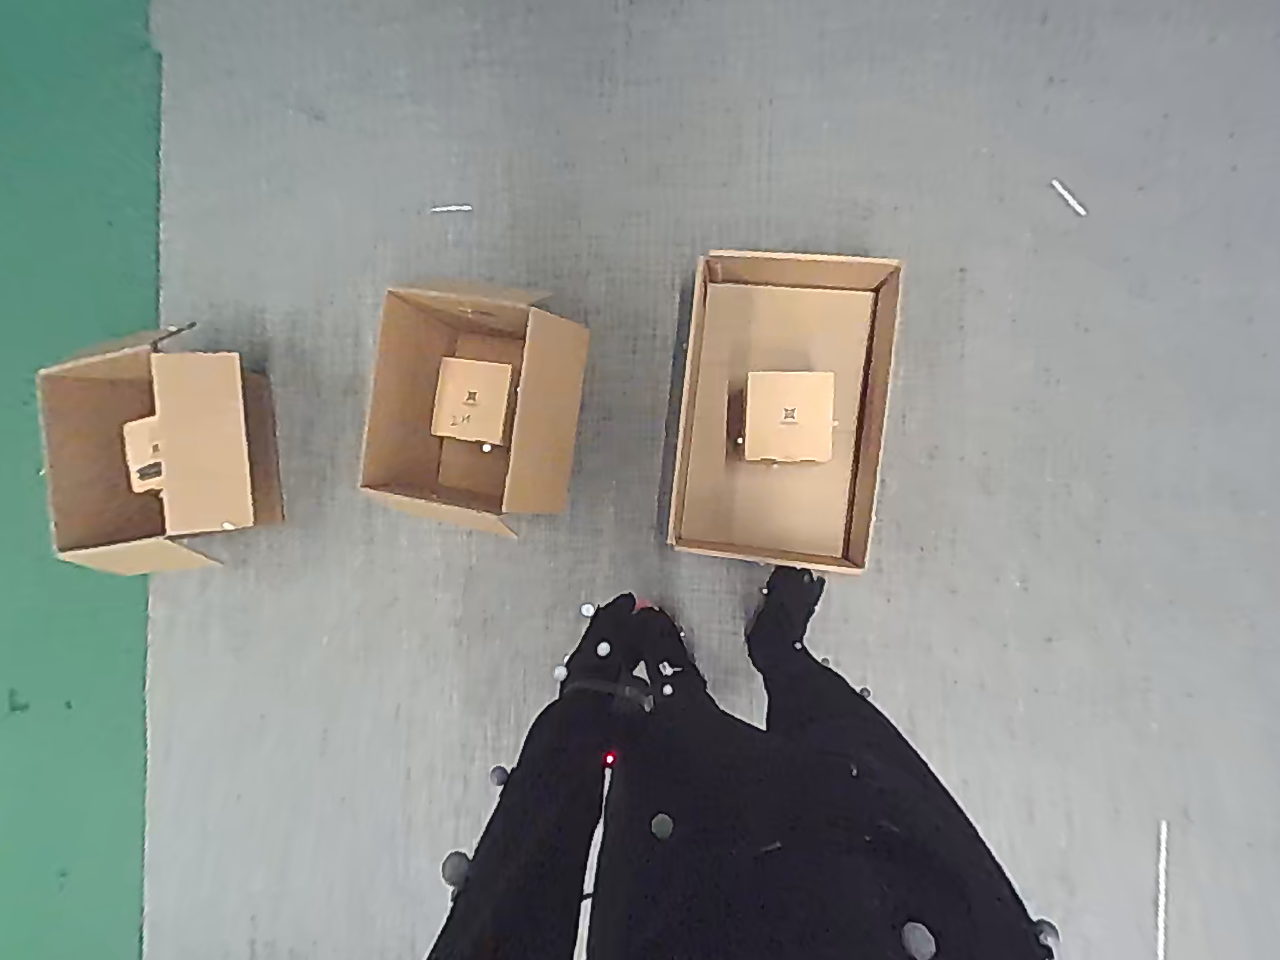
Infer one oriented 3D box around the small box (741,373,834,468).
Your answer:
[{"bbox_3d":[0.300,-0.118,1.128,0.168,0.176,0.179,2,90,9],"label":"small box"}]
